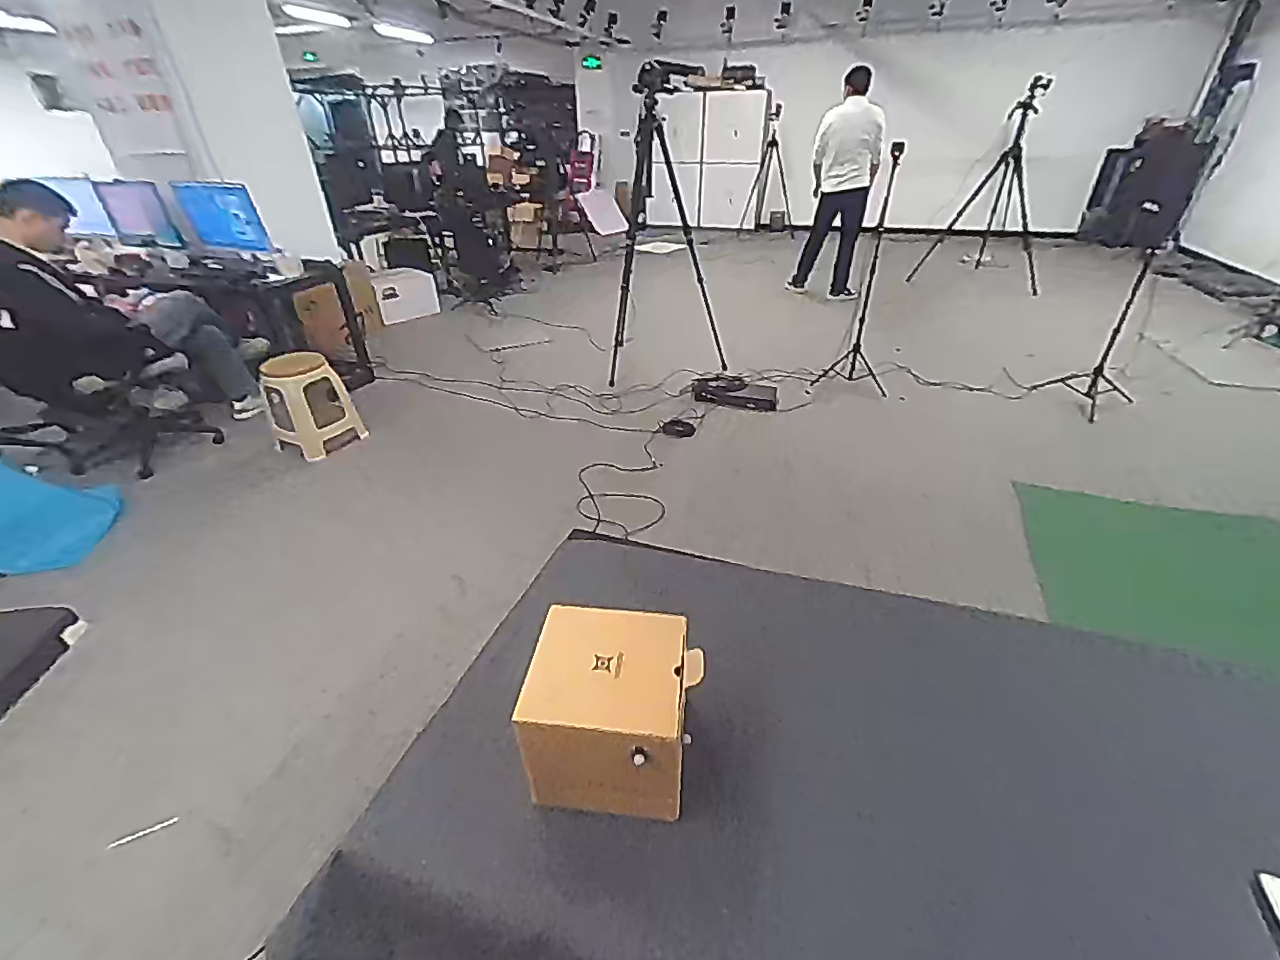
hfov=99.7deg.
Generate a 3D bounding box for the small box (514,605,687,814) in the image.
[{"bbox_3d":[-0.035,0.275,0.655,0.179,0.176,0.168,3,32,5],"label":"small box"}]
